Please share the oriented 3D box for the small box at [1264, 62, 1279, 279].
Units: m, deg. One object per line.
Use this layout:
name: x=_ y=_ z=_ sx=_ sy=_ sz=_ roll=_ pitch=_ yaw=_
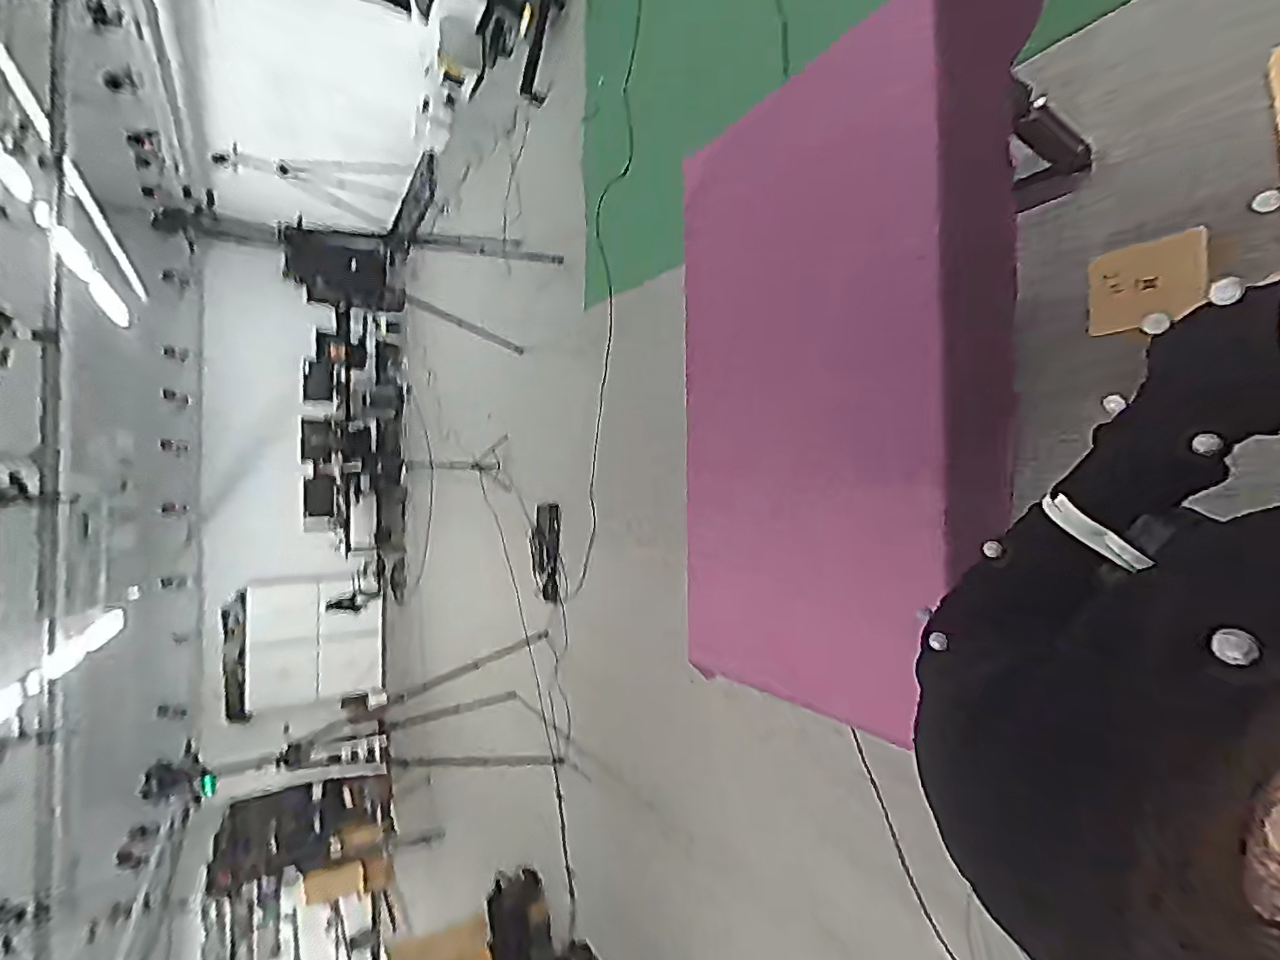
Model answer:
small box: x=0.514 y=-0.185 z=0.319 sx=0.168 sy=0.176 sz=0.179 roll=-6 pitch=90 yaw=56
